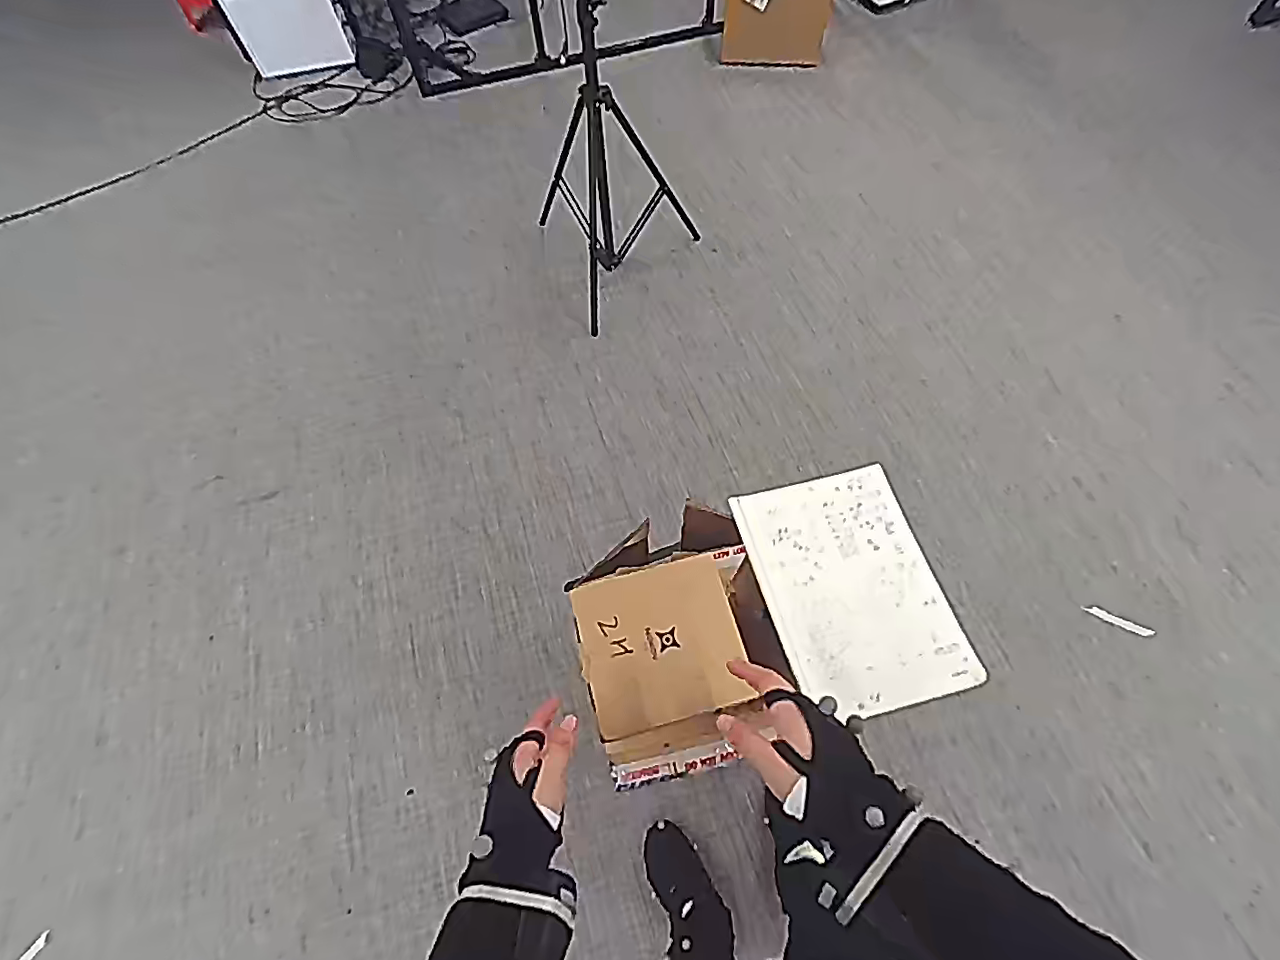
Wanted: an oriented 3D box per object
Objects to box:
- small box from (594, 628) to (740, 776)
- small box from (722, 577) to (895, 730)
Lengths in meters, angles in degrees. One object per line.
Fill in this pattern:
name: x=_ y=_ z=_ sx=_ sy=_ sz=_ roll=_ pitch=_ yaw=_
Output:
small box: x=0.035 y=0.329 z=0.806 sx=0.179 sy=0.176 sz=0.168 roll=-11 pitch=65 yaw=-2
small box: x=0.243 y=0.270 z=0.830 sx=0.179 sy=0.176 sz=0.168 roll=-17 pitch=65 yaw=-8
